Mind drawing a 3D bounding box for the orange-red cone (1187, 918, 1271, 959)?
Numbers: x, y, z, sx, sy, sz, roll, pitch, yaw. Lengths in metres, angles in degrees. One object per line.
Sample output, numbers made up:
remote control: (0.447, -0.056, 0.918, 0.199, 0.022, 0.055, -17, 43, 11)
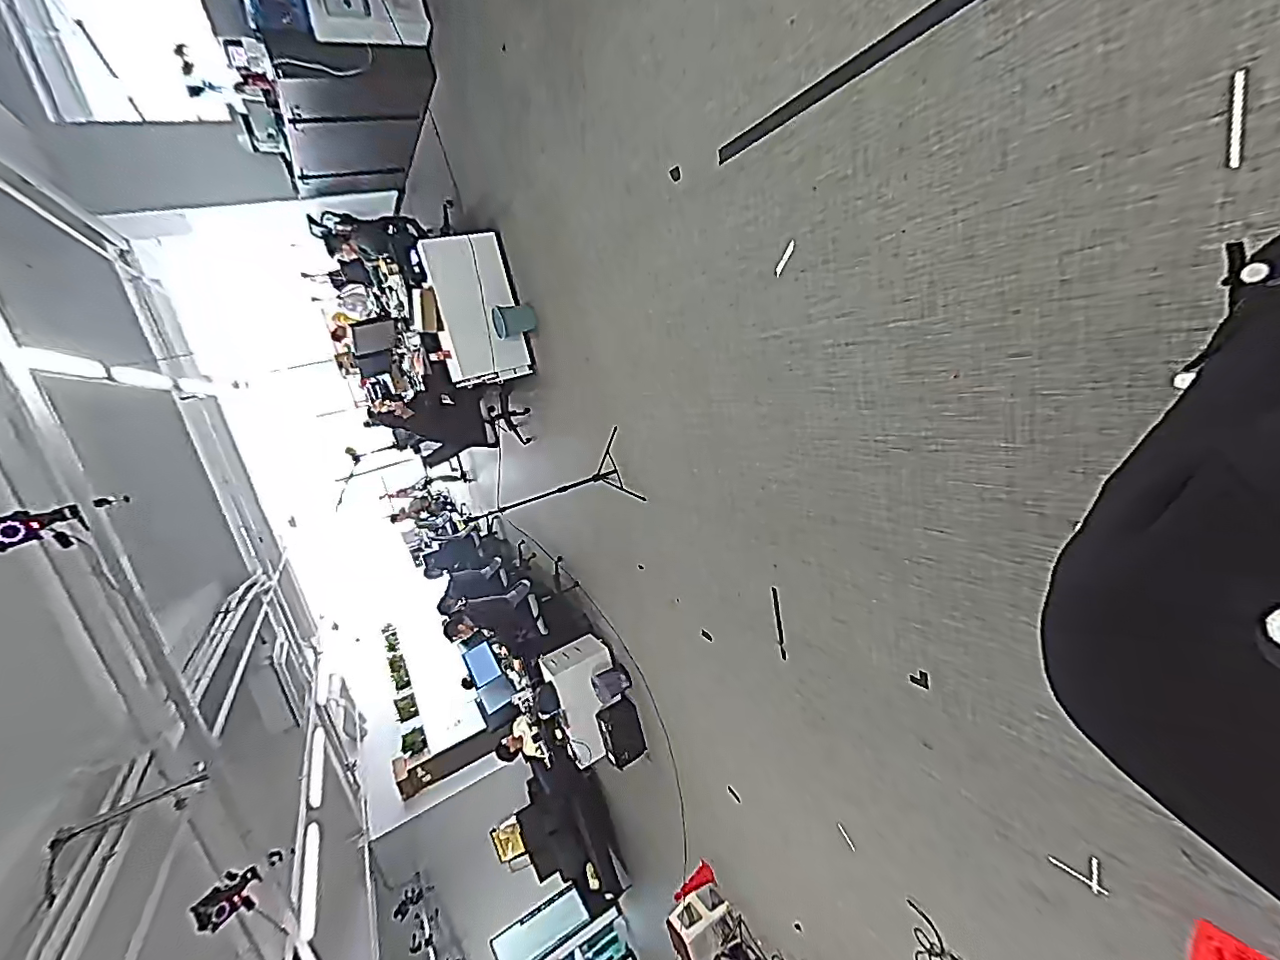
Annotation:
orange-red cone: (1.351, 1.271, 1.263, 0.199, 0.360, 0.198, 23, 127, 58)
